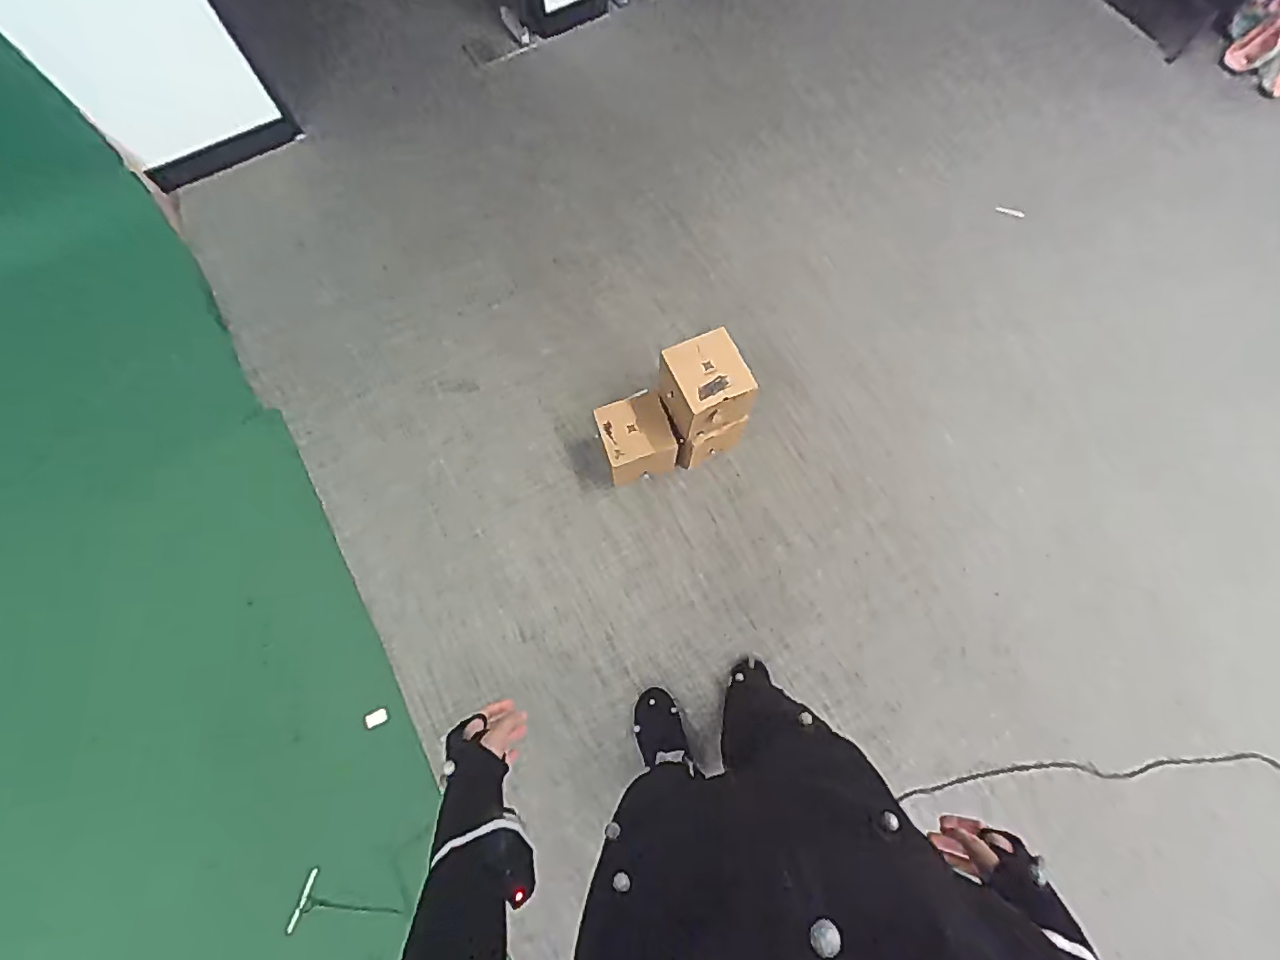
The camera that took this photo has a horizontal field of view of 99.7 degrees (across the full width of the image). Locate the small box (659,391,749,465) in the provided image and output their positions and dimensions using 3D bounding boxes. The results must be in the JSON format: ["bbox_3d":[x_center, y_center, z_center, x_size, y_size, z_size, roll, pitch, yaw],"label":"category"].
[{"bbox_3d":[0.162,-0.168,1.447,0.168,0.176,0.179,-29,76,-9],"label":"small box"}]

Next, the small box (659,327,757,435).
[{"bbox_3d":[0.156,-0.226,1.292,0.168,0.176,0.179,-24,74,-8],"label":"small box"}]
